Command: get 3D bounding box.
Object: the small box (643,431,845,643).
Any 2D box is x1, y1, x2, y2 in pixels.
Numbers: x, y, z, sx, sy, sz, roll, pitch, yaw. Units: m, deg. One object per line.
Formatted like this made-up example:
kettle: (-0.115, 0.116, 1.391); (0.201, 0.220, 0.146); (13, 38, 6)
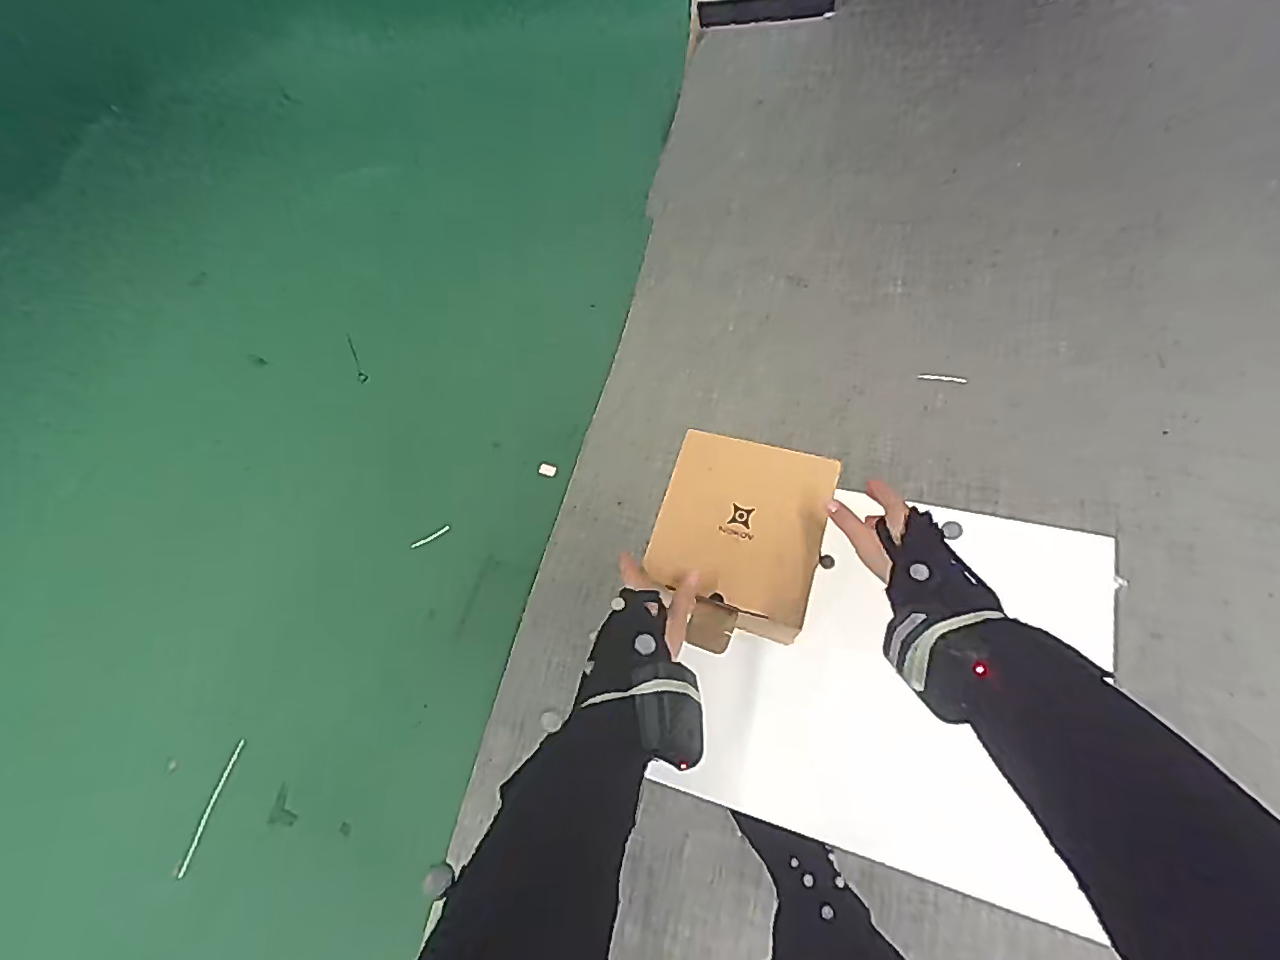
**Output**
small box: (0.118, 0.072, 0.615); (0.168, 0.176, 0.179); (15, 74, 16)
